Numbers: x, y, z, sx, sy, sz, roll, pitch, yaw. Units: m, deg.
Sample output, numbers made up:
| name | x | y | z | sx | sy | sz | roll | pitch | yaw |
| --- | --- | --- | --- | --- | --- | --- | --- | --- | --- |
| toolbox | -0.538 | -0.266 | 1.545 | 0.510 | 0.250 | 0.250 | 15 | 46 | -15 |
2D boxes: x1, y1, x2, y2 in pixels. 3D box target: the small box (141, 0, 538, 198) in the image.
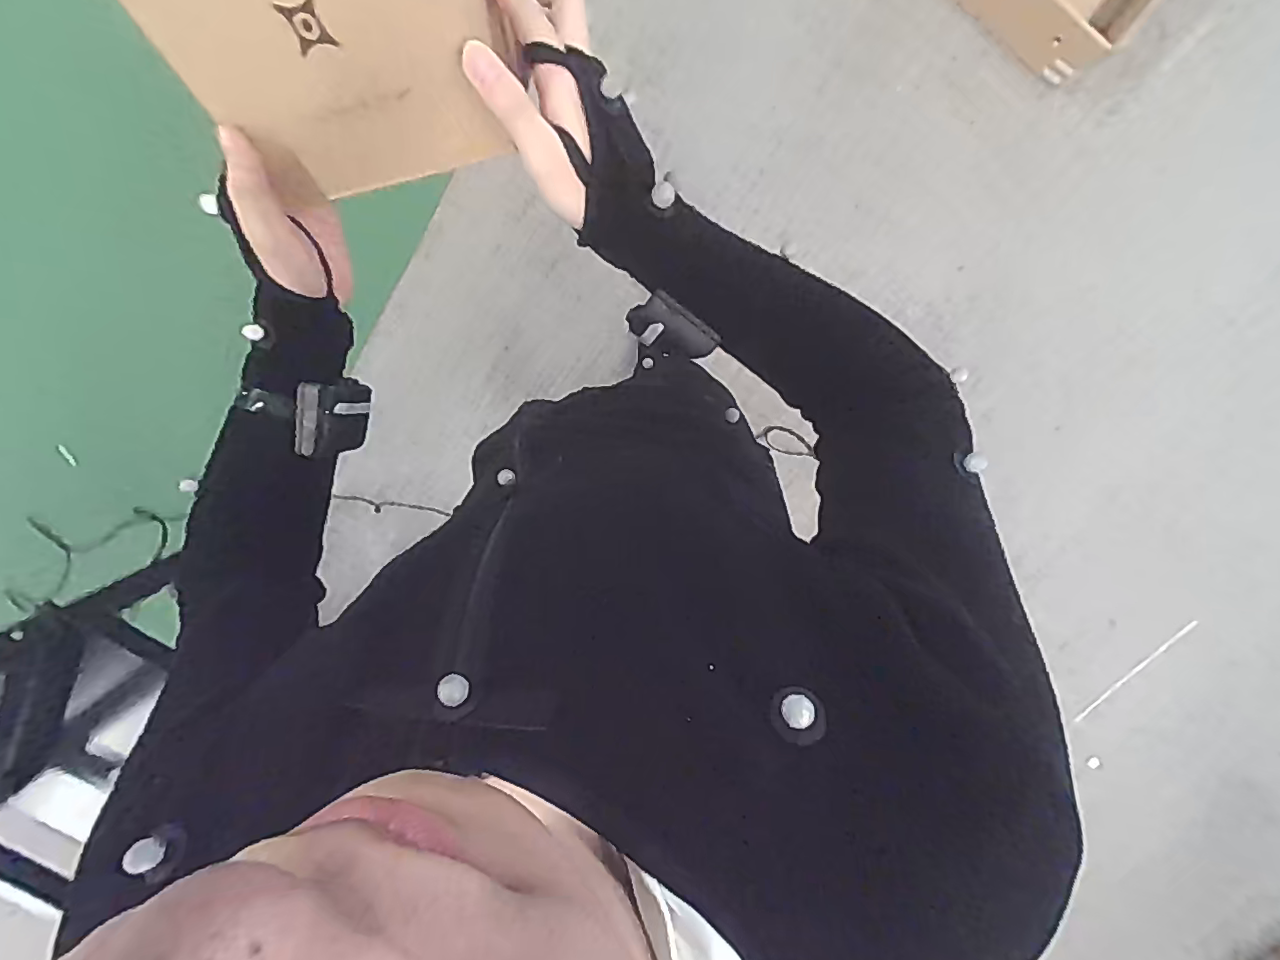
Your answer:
| name | x | y | z | sx | sy | sz | roll | pitch | yaw |
| --- | --- | --- | --- | --- | --- | --- | --- | --- | --- |
| small box | -0.168 | -0.307 | 0.318 | 0.168 | 0.176 | 0.179 | -7 | 145 | 8 |
